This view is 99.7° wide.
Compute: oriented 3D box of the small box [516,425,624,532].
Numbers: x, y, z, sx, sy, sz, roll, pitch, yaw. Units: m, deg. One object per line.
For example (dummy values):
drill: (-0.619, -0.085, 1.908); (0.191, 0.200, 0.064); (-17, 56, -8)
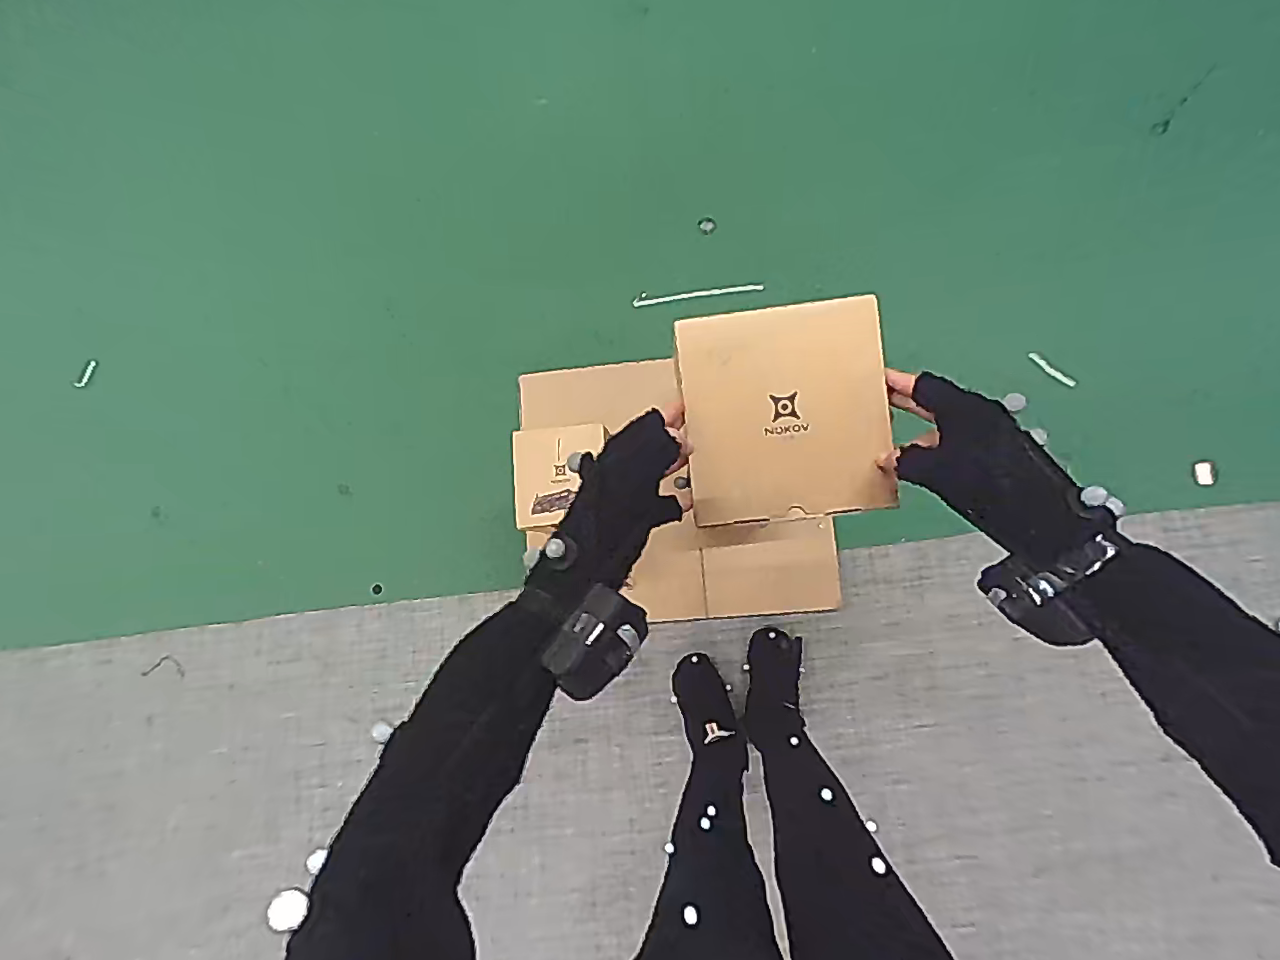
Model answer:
small box: (-0.124, 0.006, 1.013); (0.168, 0.176, 0.179); (-5, 81, 5)

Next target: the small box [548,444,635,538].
small box: (-0.106, 0.030, 1.174); (0.168, 0.176, 0.179); (-7, 82, 6)

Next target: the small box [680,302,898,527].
small box: (0.128, -0.053, 0.528); (0.168, 0.176, 0.179); (-6, 90, 4)
